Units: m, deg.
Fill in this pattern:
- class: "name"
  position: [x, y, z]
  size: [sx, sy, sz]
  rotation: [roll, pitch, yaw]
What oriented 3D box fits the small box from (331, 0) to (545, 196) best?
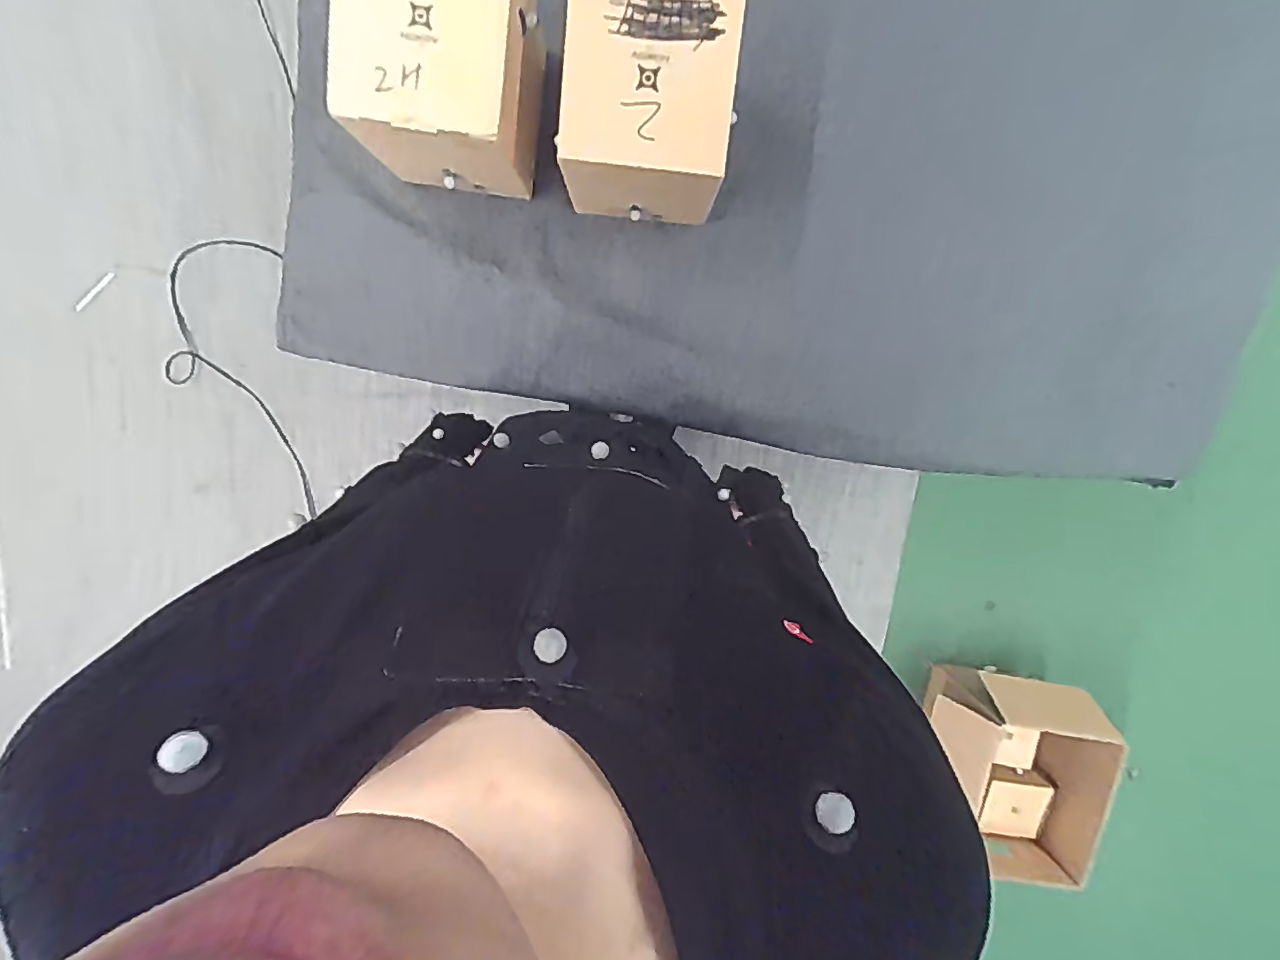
- class: "small box"
  position: [-0.202, -0.438, 0.582]
  size: [0.168, 0.176, 0.179]
  rotation: [7, 99, -1]
